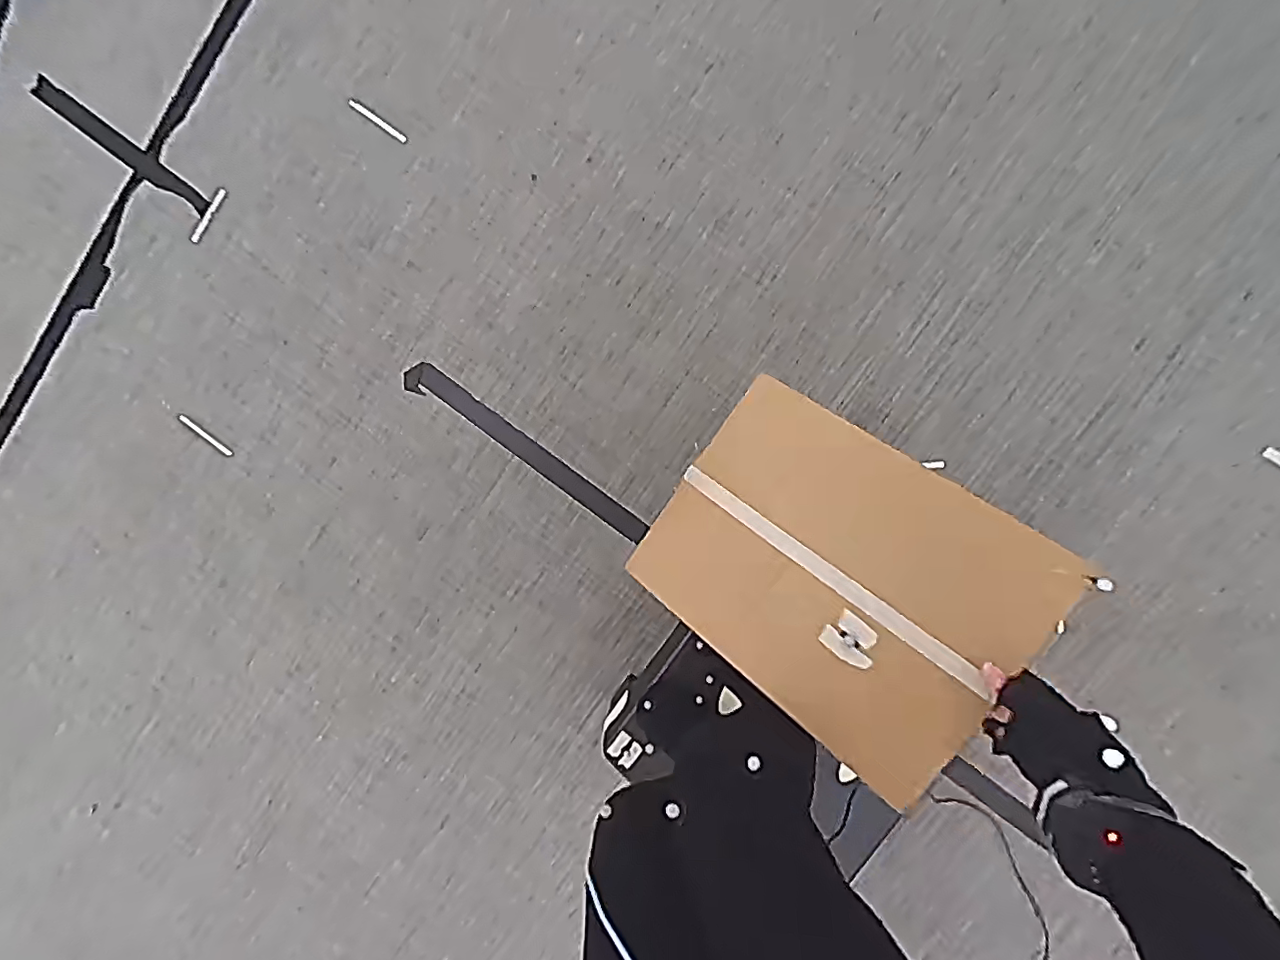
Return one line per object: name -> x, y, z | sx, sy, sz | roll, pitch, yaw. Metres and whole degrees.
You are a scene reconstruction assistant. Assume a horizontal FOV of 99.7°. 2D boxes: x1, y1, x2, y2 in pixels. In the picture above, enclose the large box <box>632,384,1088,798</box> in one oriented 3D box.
large box -> 0.272, 0.127, 0.760 | 0.408, 0.320, 0.320 | 37, 98, 26
